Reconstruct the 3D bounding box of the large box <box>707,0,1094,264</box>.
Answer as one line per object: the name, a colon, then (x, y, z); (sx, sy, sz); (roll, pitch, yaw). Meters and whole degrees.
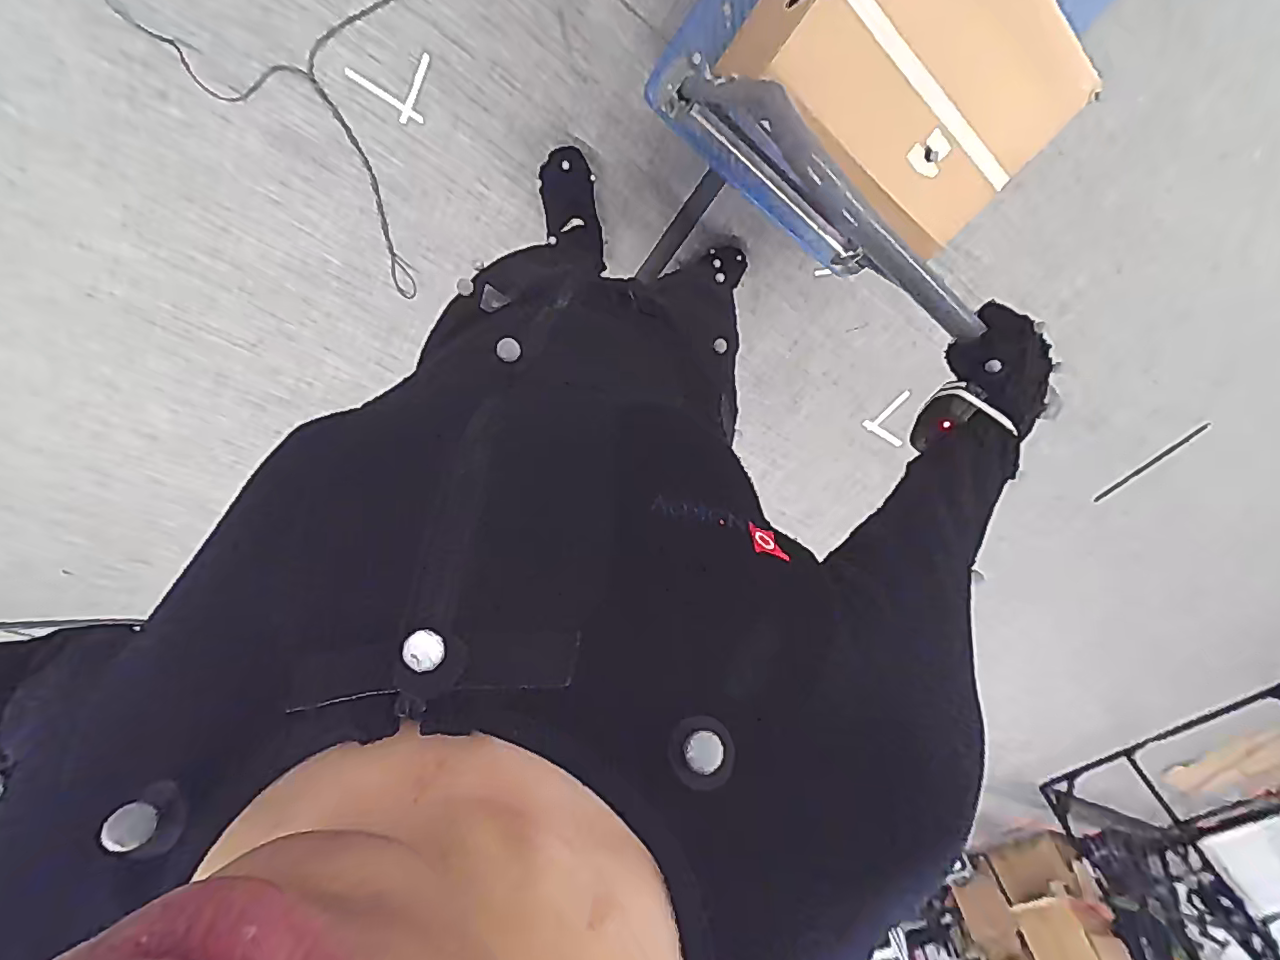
large box: (0.374, -0.629, 0.855); (0.408, 0.320, 0.320); (27, 123, -27)
